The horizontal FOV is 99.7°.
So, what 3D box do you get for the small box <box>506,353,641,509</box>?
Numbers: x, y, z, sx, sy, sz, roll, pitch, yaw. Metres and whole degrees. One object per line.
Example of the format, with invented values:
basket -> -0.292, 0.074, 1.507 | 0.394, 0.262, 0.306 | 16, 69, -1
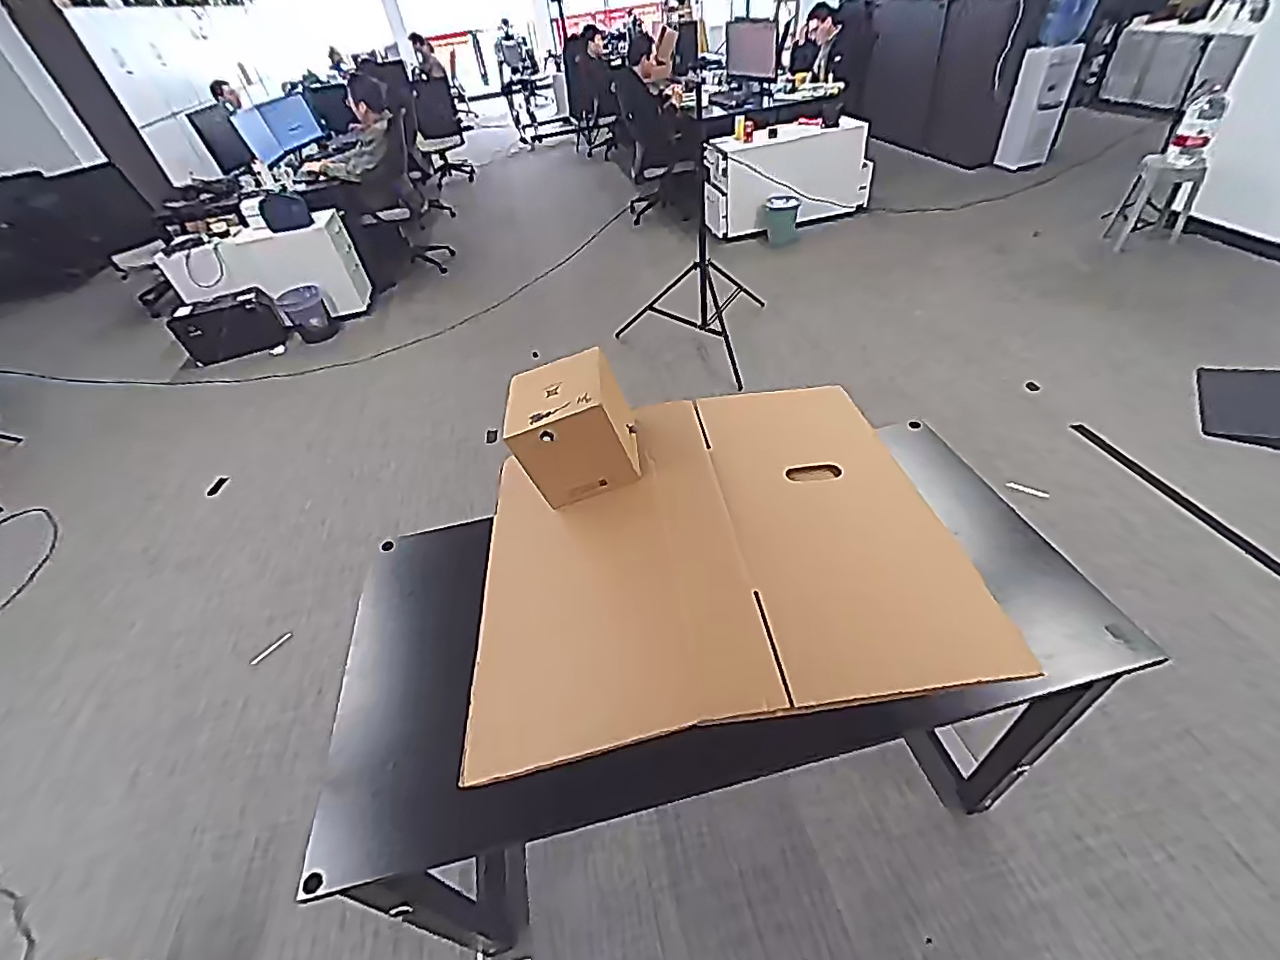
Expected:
small box -> -0.106, -0.081, 0.921 | 0.168, 0.176, 0.179 | -19, 40, 11
